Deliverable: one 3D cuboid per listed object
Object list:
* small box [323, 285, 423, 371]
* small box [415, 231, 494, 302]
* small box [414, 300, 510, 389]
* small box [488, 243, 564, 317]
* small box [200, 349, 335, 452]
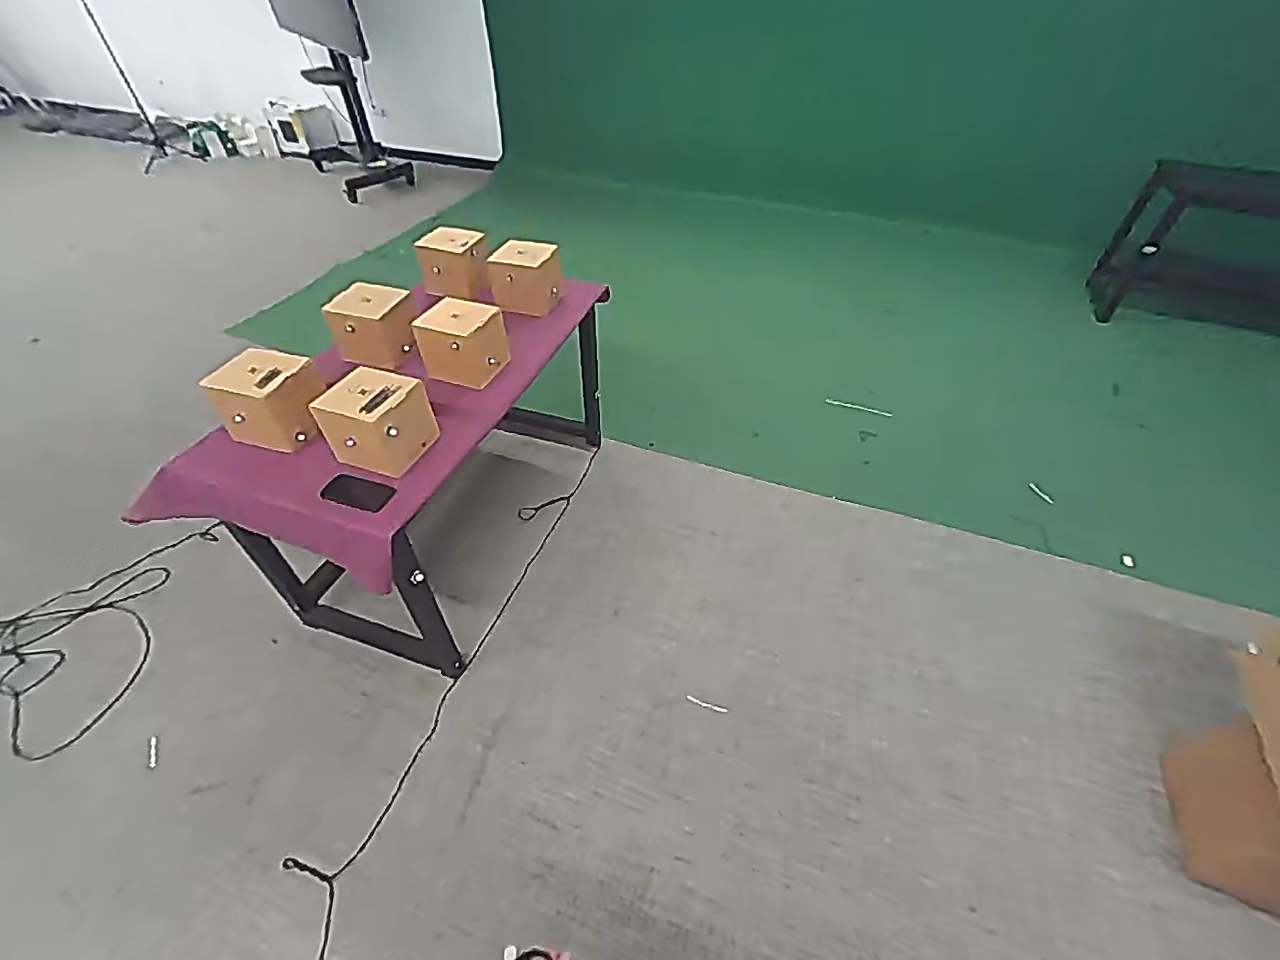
[{"bbox_3d":[-0.751,-0.433,1.548,0.179,0.176,0.168,13,47,10],"label":"small box"},{"bbox_3d":[-0.622,-0.724,1.836,0.179,0.176,0.168,13,47,12],"label":"small box"},{"bbox_3d":[-0.484,-0.373,1.494,0.179,0.176,0.168,15,47,14],"label":"small box"},{"bbox_3d":[-0.366,-0.651,1.766,0.179,0.176,0.168,13,48,13],"label":"small box"},{"bbox_3d":[-0.880,-0.188,1.301,0.179,0.176,0.168,11,46,10],"label":"small box"}]
